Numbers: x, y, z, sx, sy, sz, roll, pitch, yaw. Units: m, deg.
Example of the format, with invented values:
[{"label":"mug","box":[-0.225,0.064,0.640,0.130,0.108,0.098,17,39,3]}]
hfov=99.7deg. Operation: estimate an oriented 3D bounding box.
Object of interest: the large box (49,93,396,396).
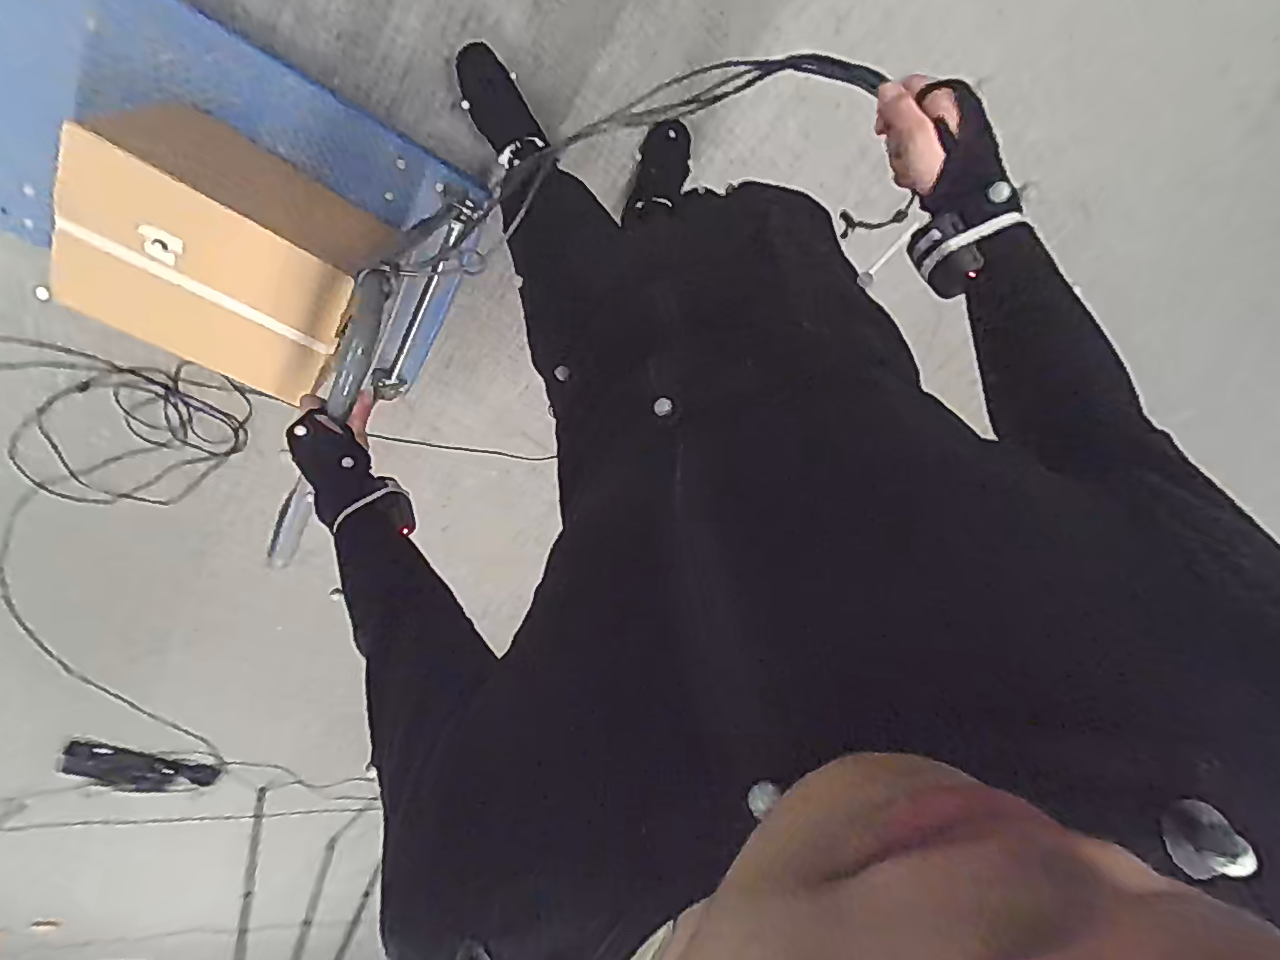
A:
[{"label":"large box","box":[-0.744,-0.433,1.019,0.408,0.320,0.320,26,122,-25]}]
